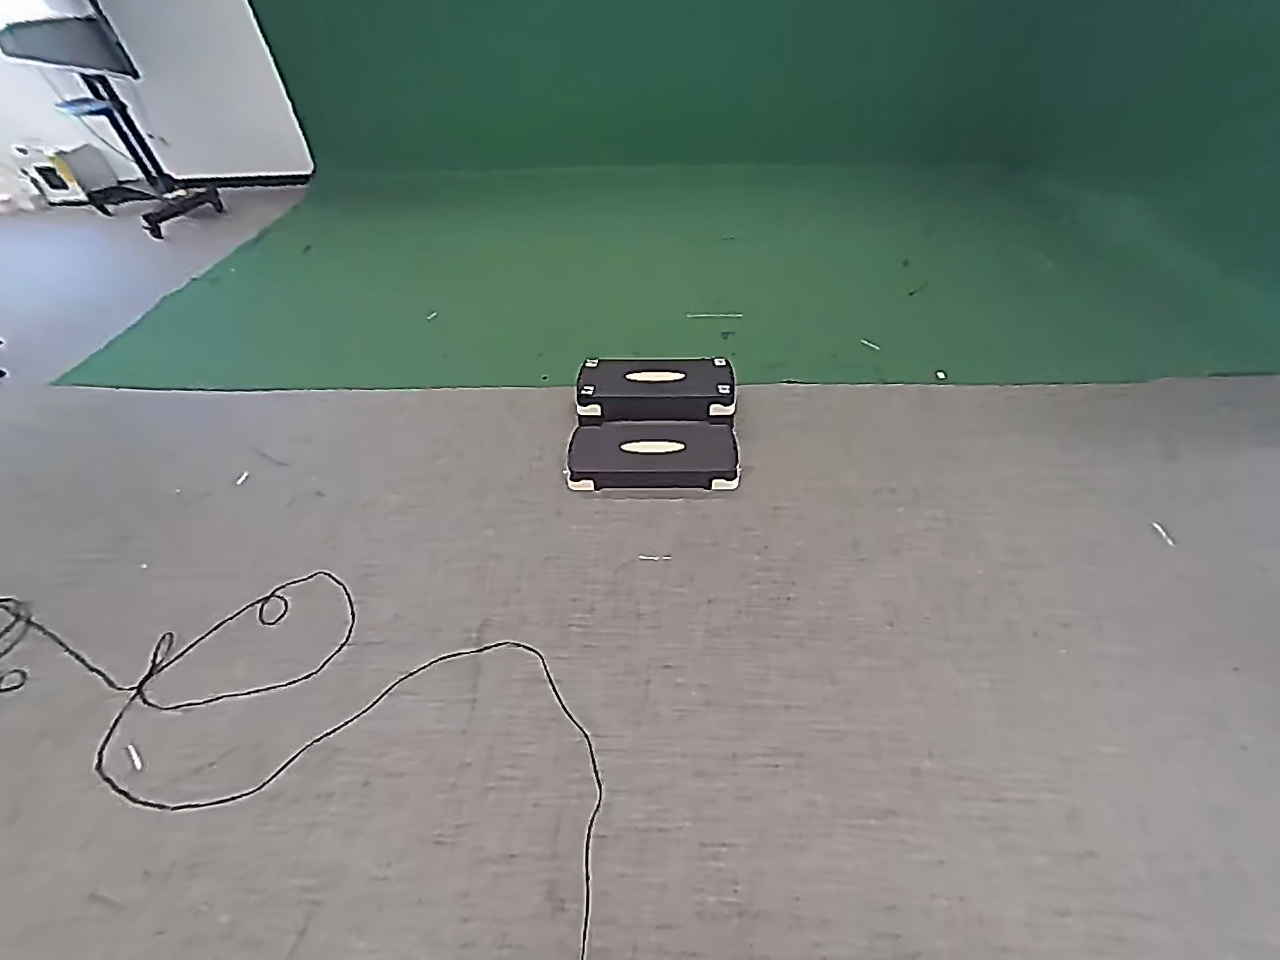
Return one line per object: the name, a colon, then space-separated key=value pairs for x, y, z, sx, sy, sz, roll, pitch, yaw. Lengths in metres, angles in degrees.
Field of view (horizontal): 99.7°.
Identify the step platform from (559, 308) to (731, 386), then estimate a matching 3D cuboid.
step platform: x=0.021 y=-0.545 z=2.220 sx=0.684 sy=0.204 sz=0.286 roll=-1 pitch=46 yaw=3
